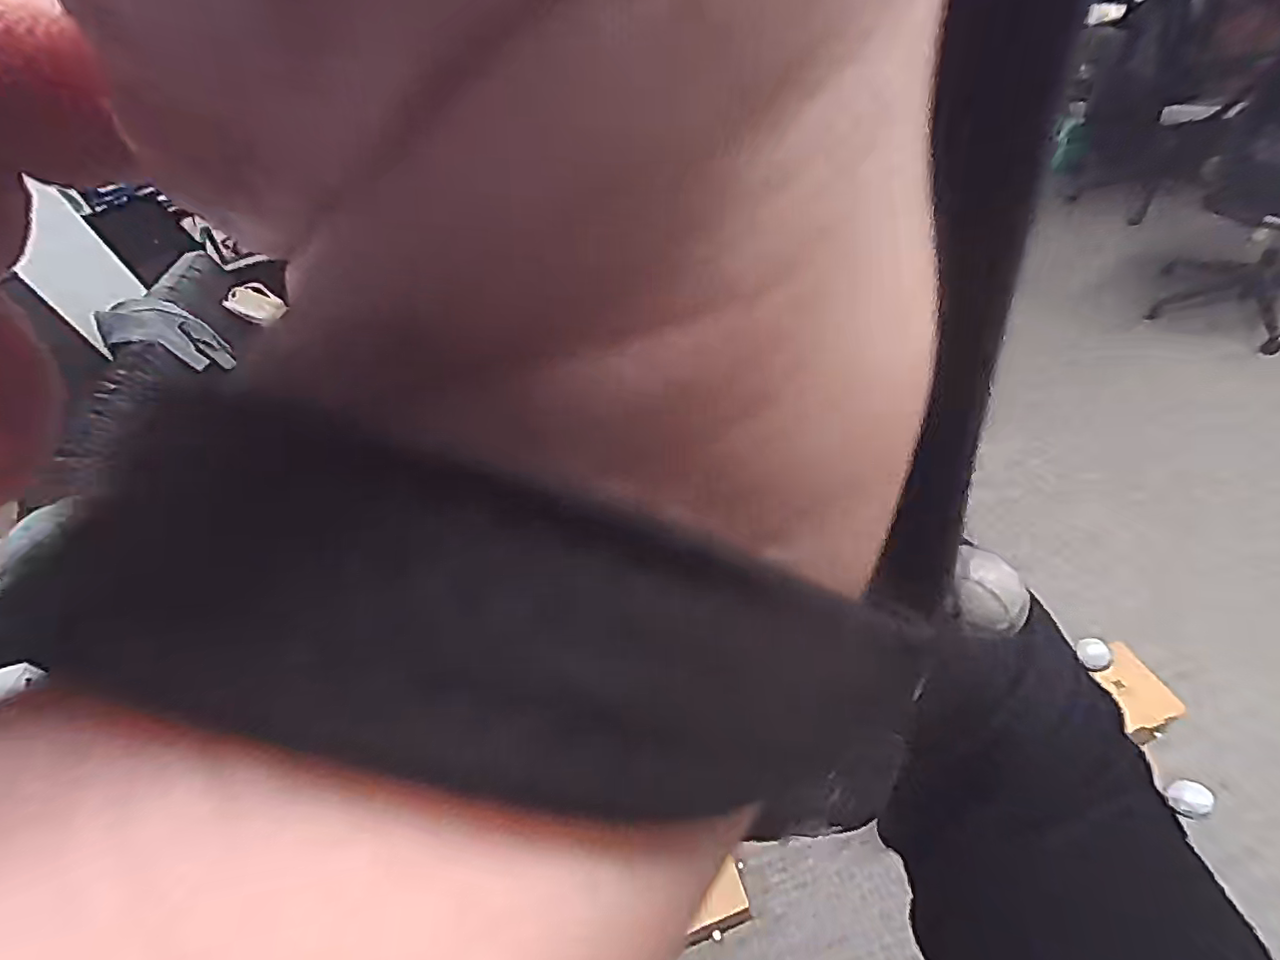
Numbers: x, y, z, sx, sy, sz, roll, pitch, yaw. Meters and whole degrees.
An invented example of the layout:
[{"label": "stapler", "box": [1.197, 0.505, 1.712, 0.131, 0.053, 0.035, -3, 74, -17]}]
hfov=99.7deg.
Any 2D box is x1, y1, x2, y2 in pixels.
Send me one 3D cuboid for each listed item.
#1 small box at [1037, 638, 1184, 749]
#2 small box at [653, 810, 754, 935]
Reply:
[{"label": "small box", "box": [1.096, 0.510, 1.277, 0.168, 0.176, 0.179, -19, 44, -2]}, {"label": "small box", "box": [0.143, 0.878, 1.207, 0.168, 0.176, 0.179, -21, 46, -3]}]
